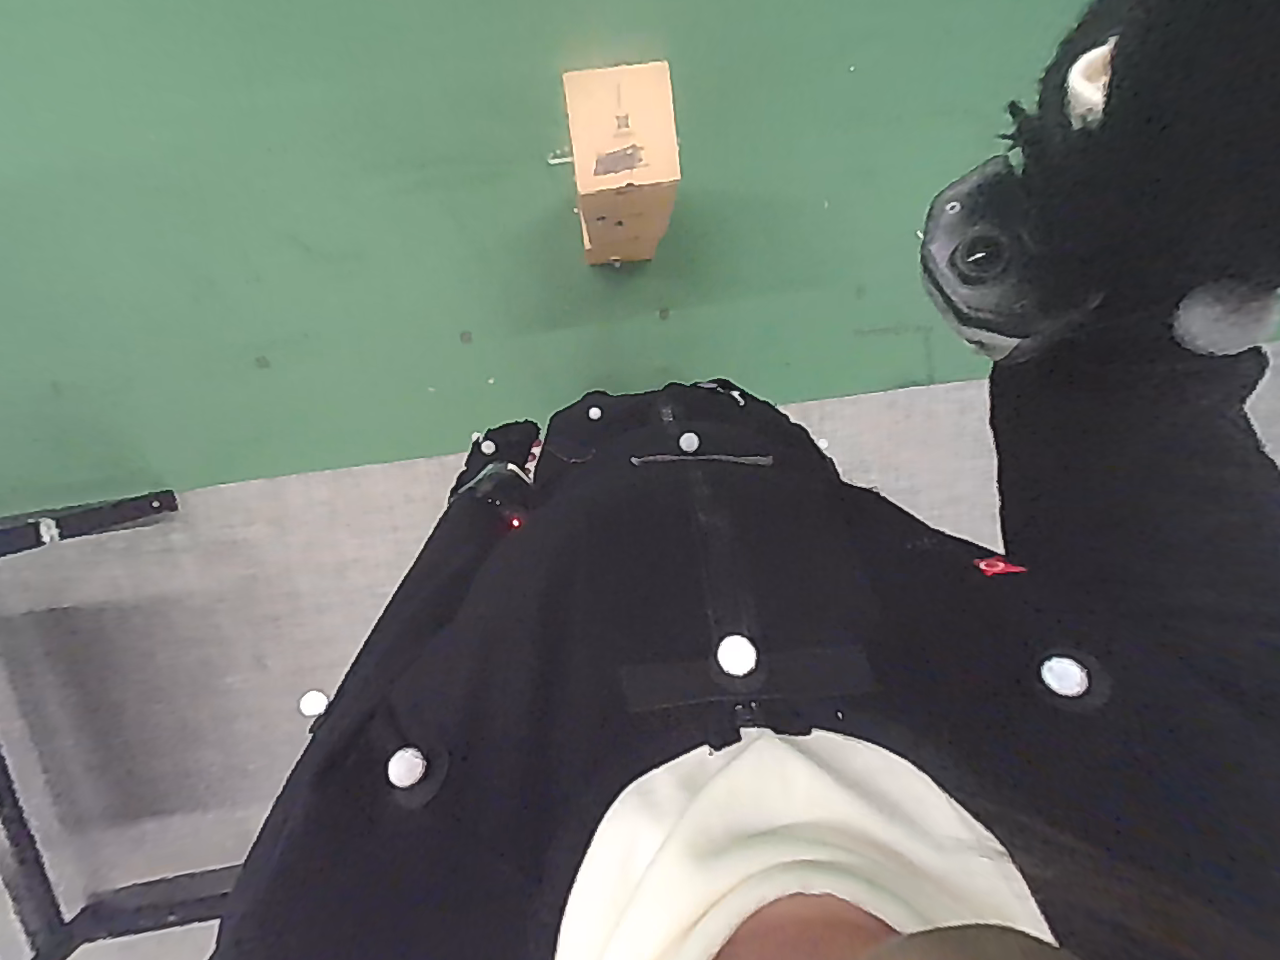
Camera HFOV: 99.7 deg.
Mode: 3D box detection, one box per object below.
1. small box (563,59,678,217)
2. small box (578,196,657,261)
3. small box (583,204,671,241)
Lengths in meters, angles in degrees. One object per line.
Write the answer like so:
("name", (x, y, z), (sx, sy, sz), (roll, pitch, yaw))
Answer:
("small box", (-0.030, -0.561, 0.914), (0.168, 0.176, 0.179), (-7, 99, -2))
("small box", (-0.053, -0.609, 1.219), (0.168, 0.176, 0.179), (-4, 101, 0))
("small box", (-0.036, -0.591, 1.076), (0.168, 0.176, 0.179), (-7, 99, -1))
